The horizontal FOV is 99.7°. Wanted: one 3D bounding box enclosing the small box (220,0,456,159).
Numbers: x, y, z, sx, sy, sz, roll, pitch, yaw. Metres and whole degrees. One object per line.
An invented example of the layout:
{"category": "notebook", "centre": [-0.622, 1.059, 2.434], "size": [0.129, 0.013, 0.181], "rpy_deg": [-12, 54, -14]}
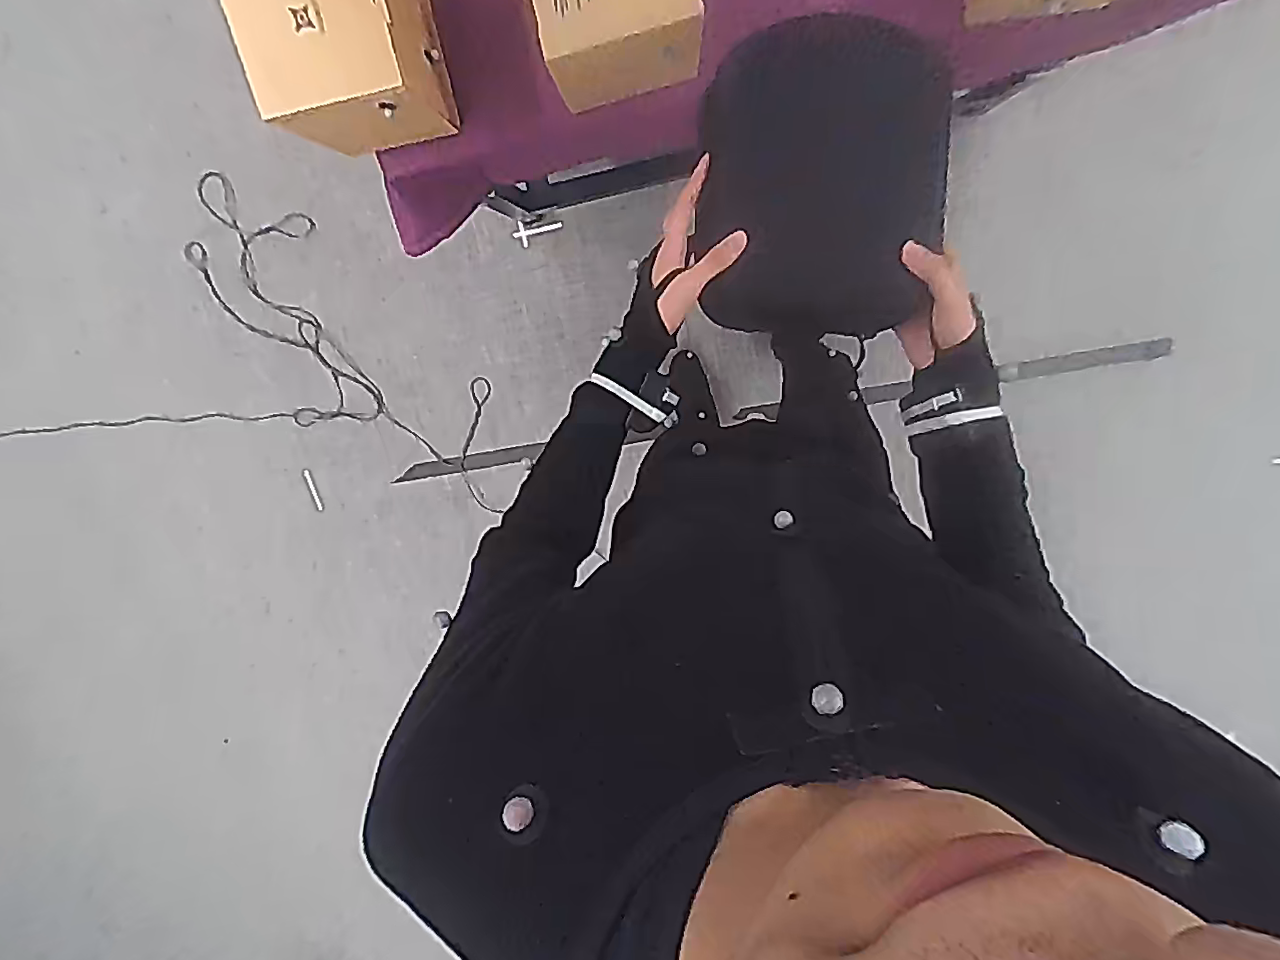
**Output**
{"category": "small box", "centre": [-0.354, -0.515, 0.656], "size": [0.179, 0.176, 0.168], "rpy_deg": [-10, 107, 6]}
